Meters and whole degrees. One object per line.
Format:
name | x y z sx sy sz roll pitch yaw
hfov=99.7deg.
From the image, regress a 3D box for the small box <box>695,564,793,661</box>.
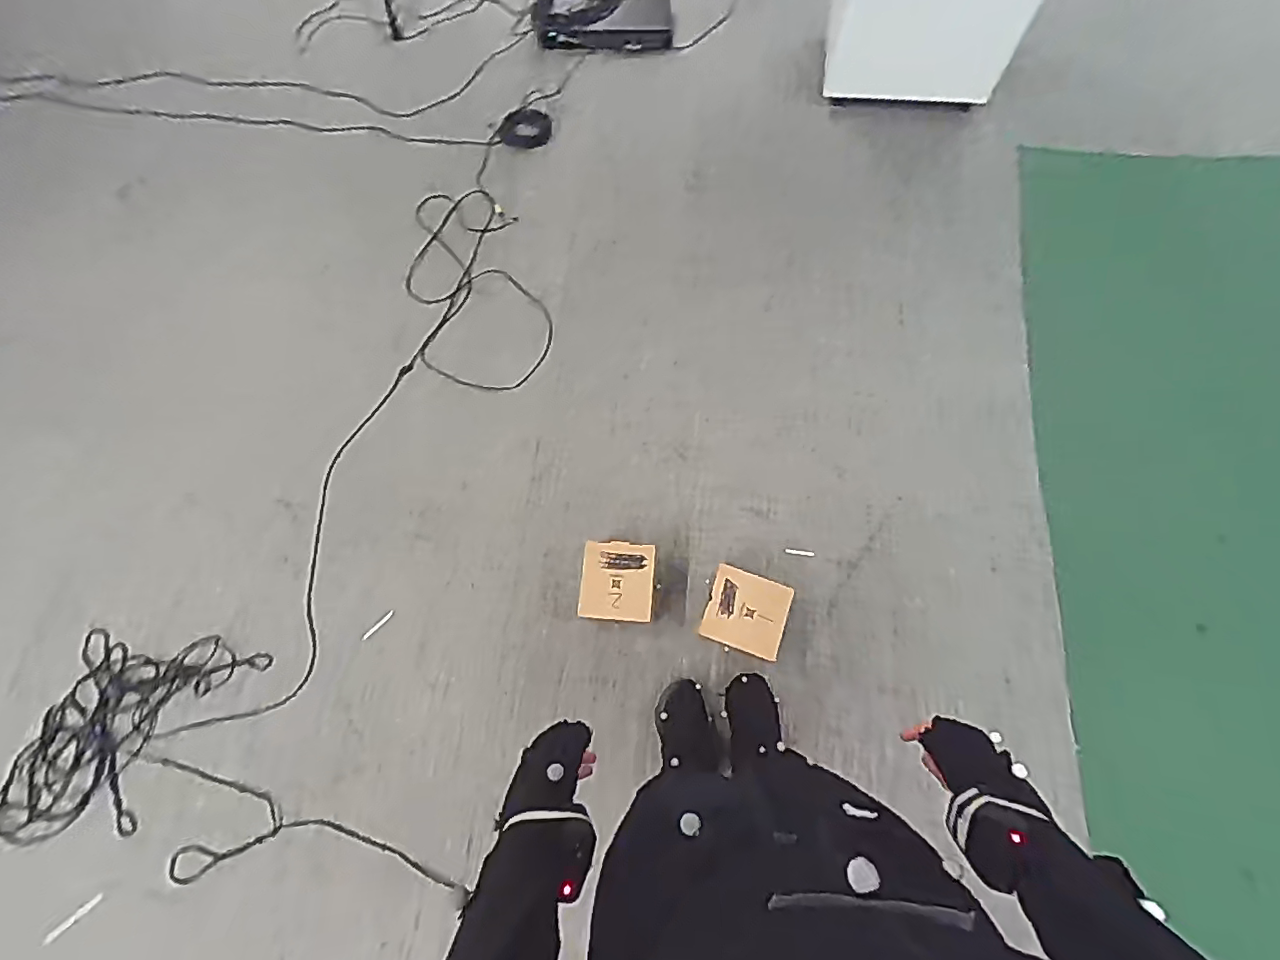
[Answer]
small box | 0.234 0.313 1.262 0.179 0.176 0.168 19 74 8
